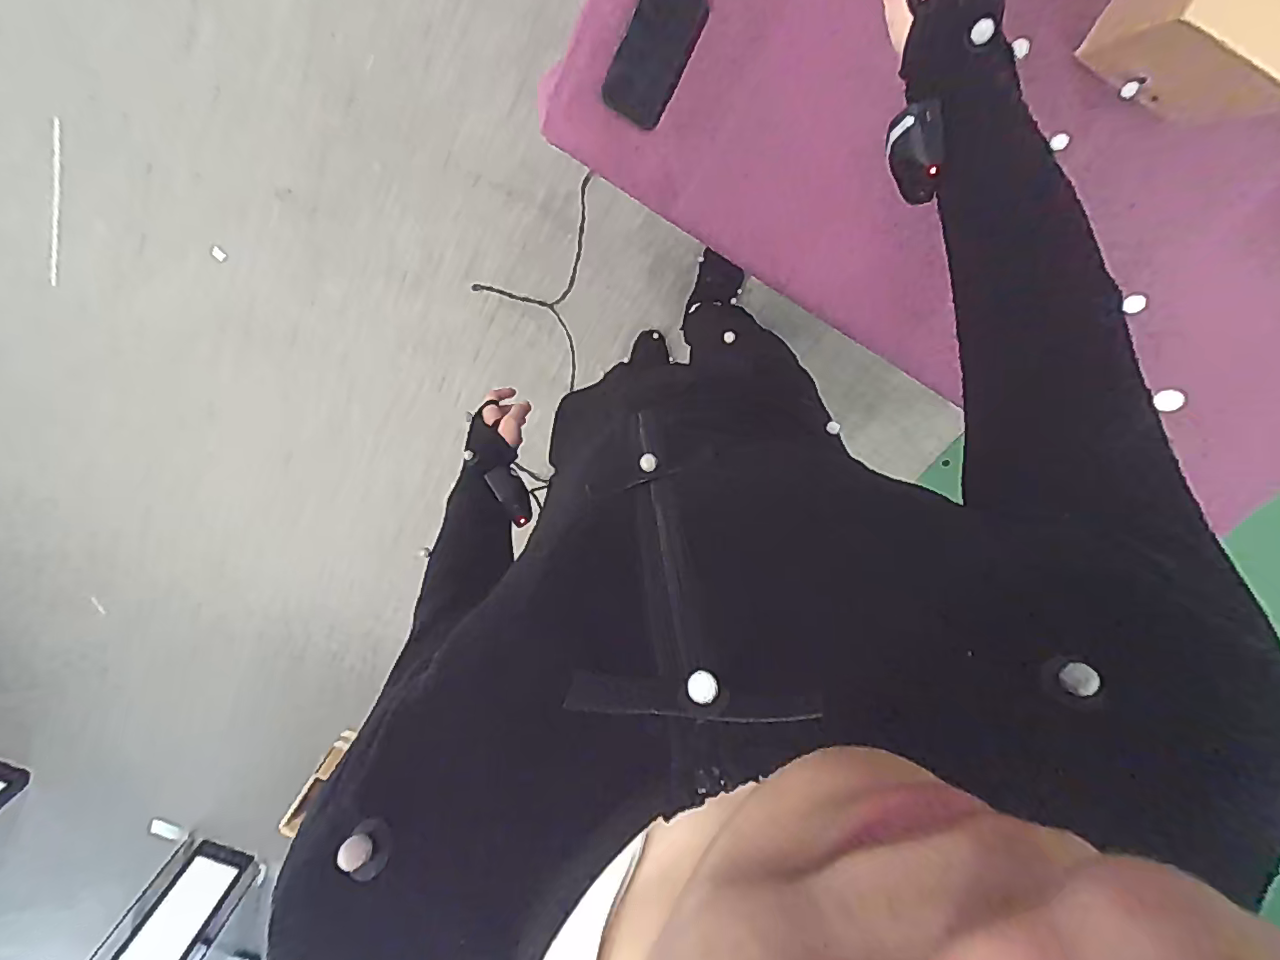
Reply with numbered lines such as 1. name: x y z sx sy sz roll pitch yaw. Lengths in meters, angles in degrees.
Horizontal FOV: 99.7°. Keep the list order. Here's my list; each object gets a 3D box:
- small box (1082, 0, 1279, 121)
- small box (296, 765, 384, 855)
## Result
1. small box: 0.597 -0.485 0.520 0.168 0.176 0.179 26 117 -7
2. small box: -0.991 1.096 1.801 0.168 0.176 0.179 36 113 -12
